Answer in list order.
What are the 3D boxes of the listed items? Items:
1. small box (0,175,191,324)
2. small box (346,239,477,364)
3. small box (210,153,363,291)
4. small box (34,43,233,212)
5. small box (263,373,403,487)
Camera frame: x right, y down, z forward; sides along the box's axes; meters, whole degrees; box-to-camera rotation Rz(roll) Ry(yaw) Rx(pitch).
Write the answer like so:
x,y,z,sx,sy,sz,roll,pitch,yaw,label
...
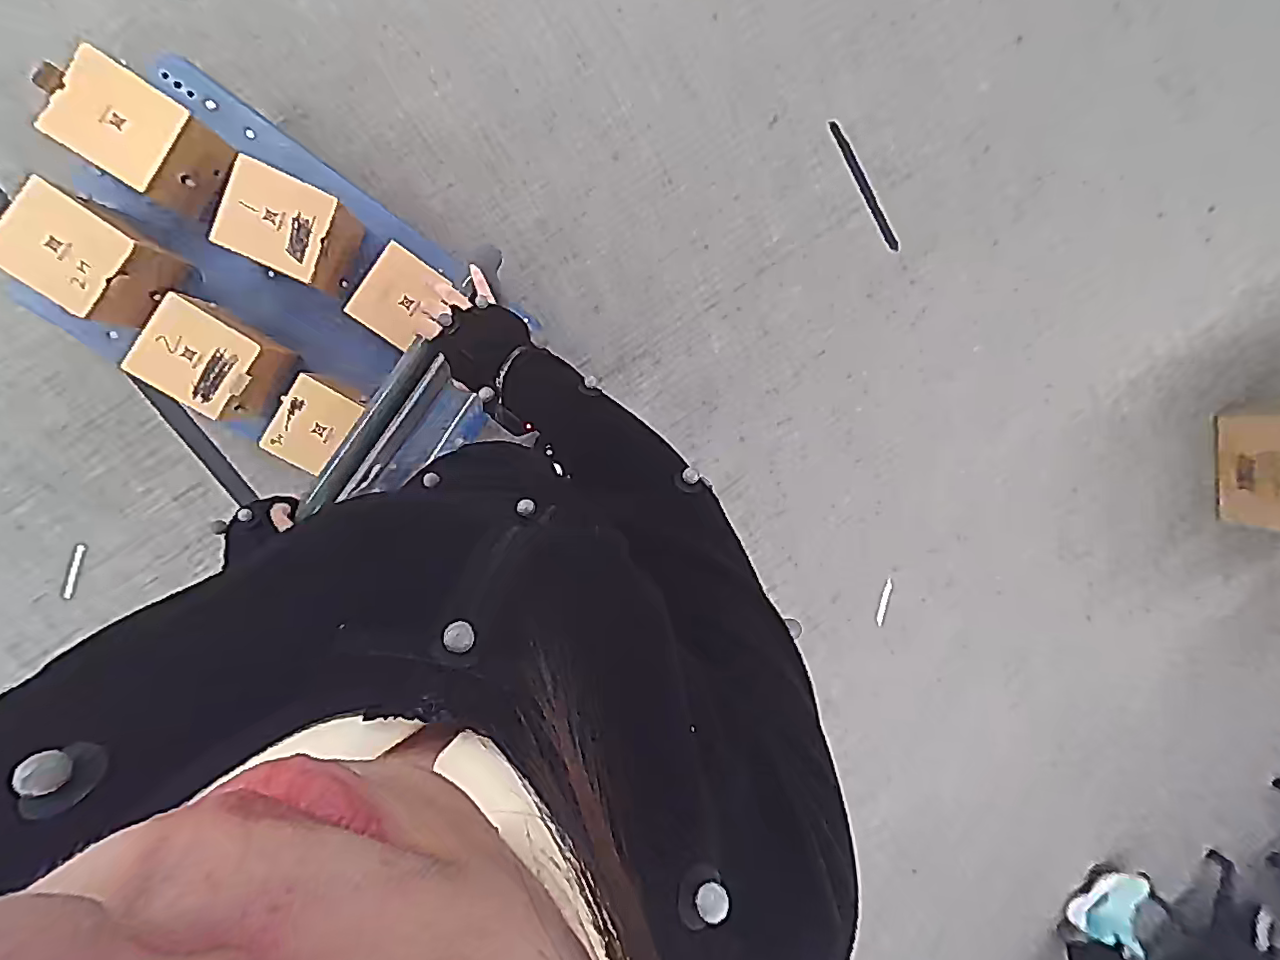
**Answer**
x,y,z,sx,sy,sz,roll,pitch,yaw,label
-0.999,-0.406,0.994,0.179,0.176,0.168,36,91,-16,small box
-0.457,-0.356,1.117,0.179,0.176,0.168,34,90,-14,small box
-0.671,-0.485,1.051,0.179,0.176,0.168,22,94,-13,small box
-0.898,-0.619,0.983,0.179,0.176,0.168,31,92,-15,small box
-0.621,-0.107,1.121,0.179,0.176,0.168,30,91,-15,small box
